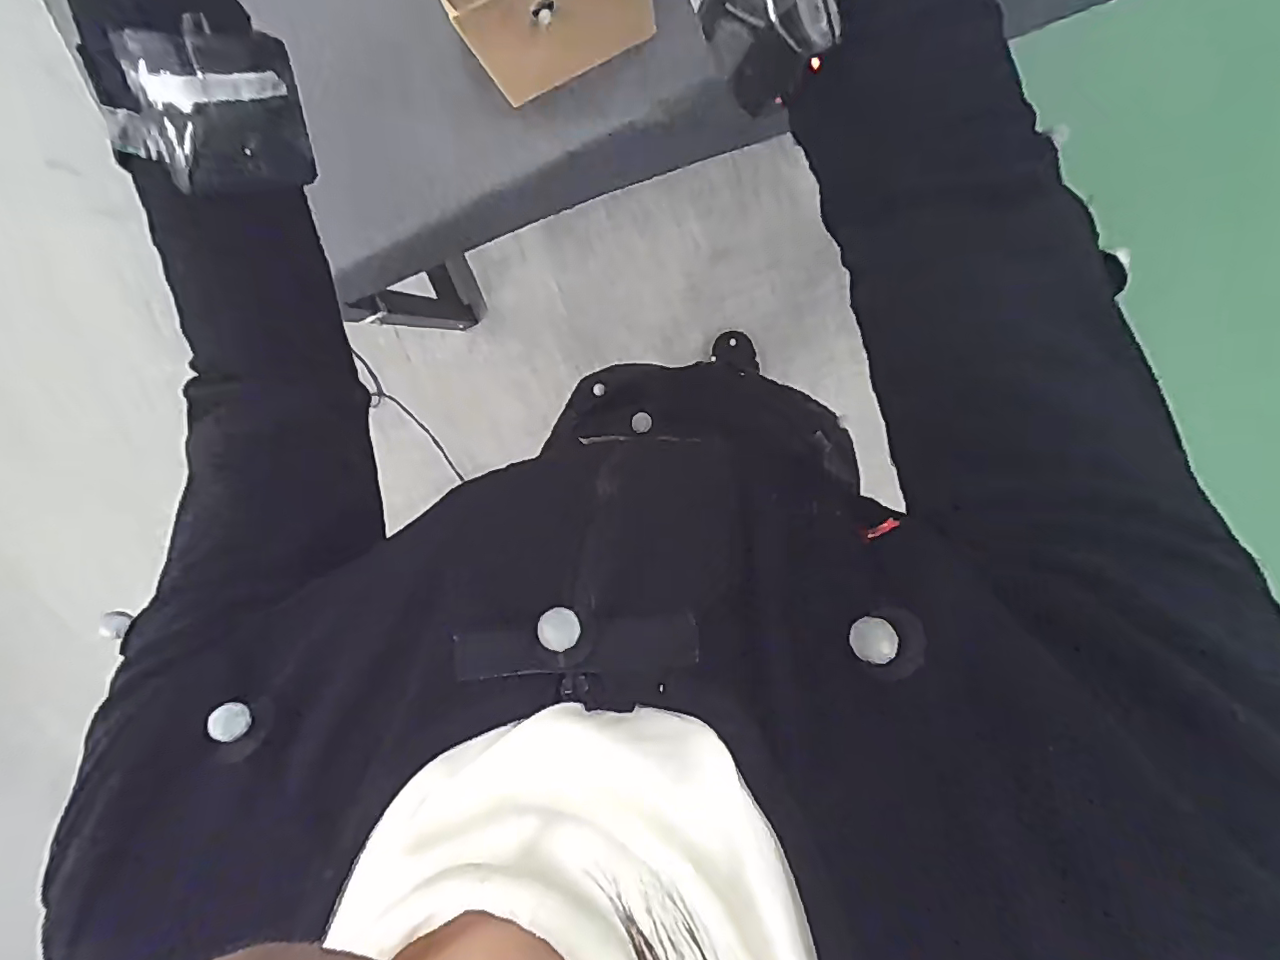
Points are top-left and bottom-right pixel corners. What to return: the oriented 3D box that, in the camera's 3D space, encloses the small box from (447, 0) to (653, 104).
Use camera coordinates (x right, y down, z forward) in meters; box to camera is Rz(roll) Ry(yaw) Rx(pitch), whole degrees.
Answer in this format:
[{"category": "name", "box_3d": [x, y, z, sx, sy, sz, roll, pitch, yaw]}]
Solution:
[{"category": "small box", "box_3d": [-0.099, -0.516, 0.528, 0.179, 0.176, 0.168, -20, 100, 10]}]
